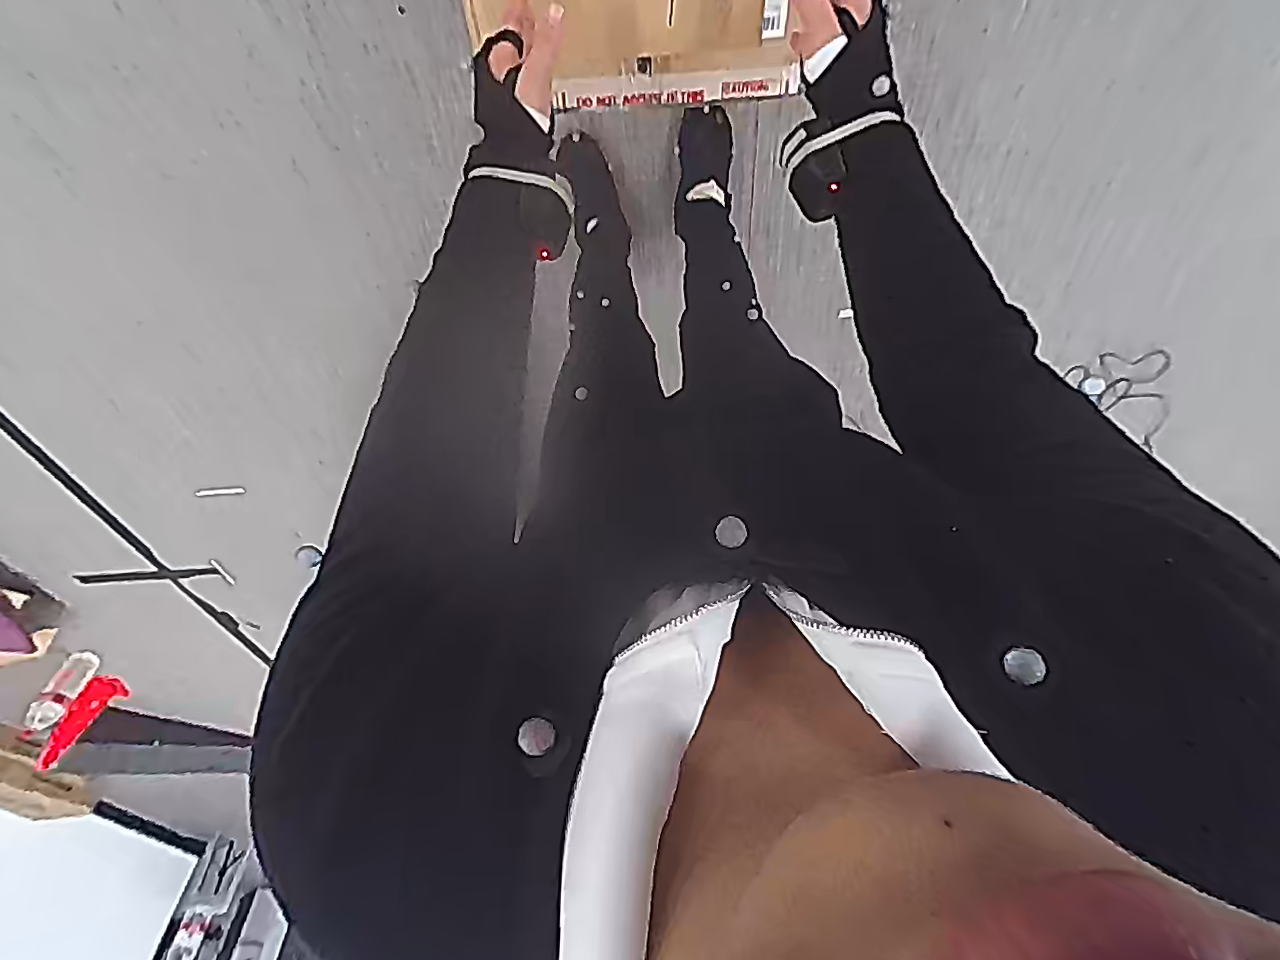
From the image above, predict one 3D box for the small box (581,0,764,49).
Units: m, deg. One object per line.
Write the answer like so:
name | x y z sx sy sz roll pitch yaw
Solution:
small box | 0.022 -0.520 0.491 0.168 0.176 0.179 -4 137 1
